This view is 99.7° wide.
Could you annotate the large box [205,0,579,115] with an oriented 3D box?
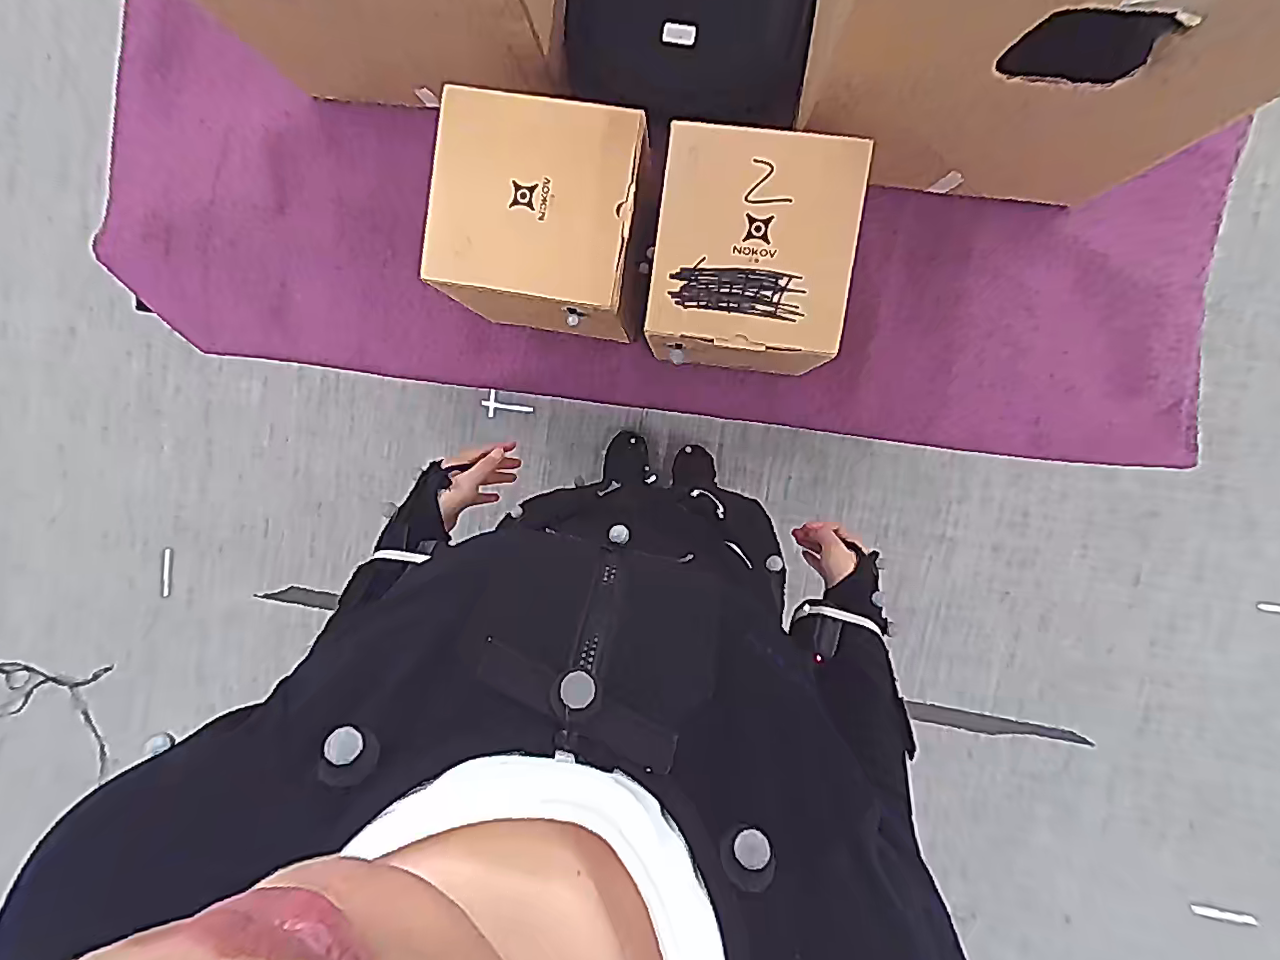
[{"bbox_3d":[-0.220,-0.604,0.448,0.320,0.320,0.408,6,98,4],"label":"large box"}]
